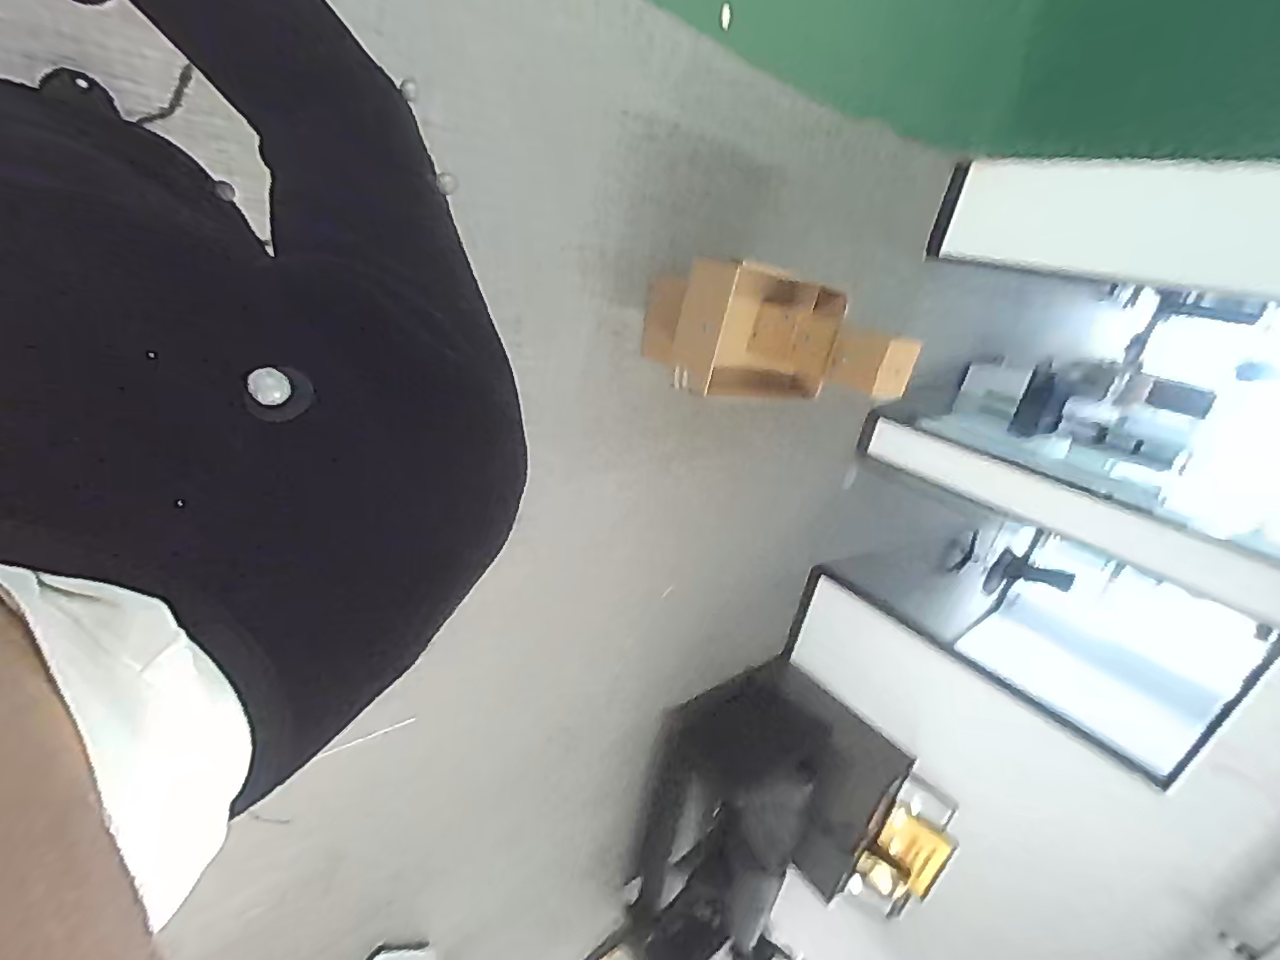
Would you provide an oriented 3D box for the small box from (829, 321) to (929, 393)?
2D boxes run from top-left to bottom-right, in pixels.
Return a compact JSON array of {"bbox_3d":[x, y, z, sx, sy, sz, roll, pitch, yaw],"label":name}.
[{"bbox_3d":[0.684,-0.355,1.559,0.179,0.176,0.168,-6,119,-36],"label":"small box"}]

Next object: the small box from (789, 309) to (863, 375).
[{"bbox_3d":[0.600,-0.425,1.683,0.179,0.176,0.168,-5,118,-37],"label":"small box"}]
